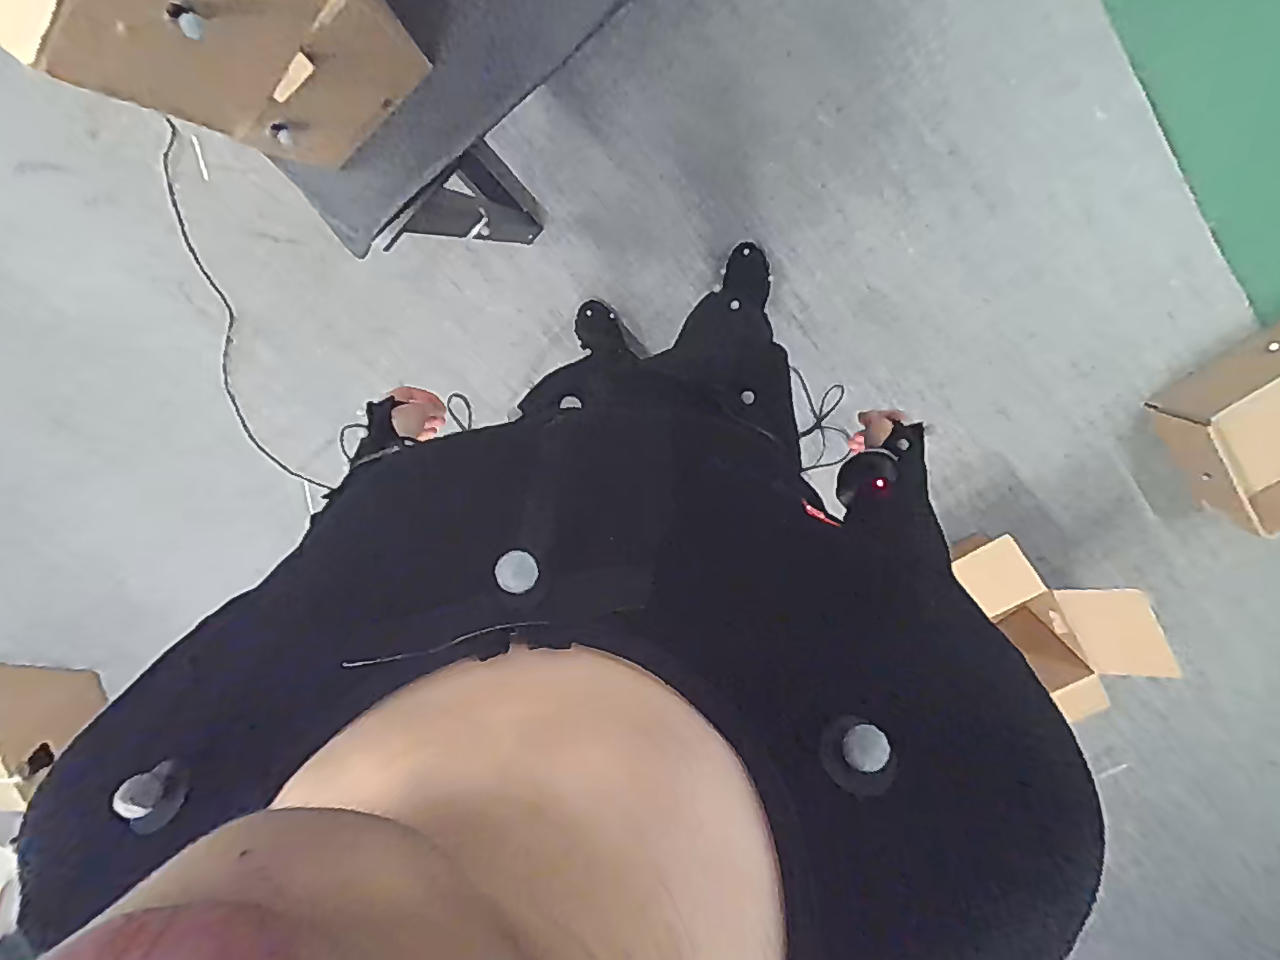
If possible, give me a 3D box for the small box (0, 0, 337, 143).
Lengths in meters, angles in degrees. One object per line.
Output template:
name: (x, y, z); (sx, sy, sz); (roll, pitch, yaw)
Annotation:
small box: (-0.345, -0.368, 0.358); (0.168, 0.176, 0.179); (44, 107, -12)
